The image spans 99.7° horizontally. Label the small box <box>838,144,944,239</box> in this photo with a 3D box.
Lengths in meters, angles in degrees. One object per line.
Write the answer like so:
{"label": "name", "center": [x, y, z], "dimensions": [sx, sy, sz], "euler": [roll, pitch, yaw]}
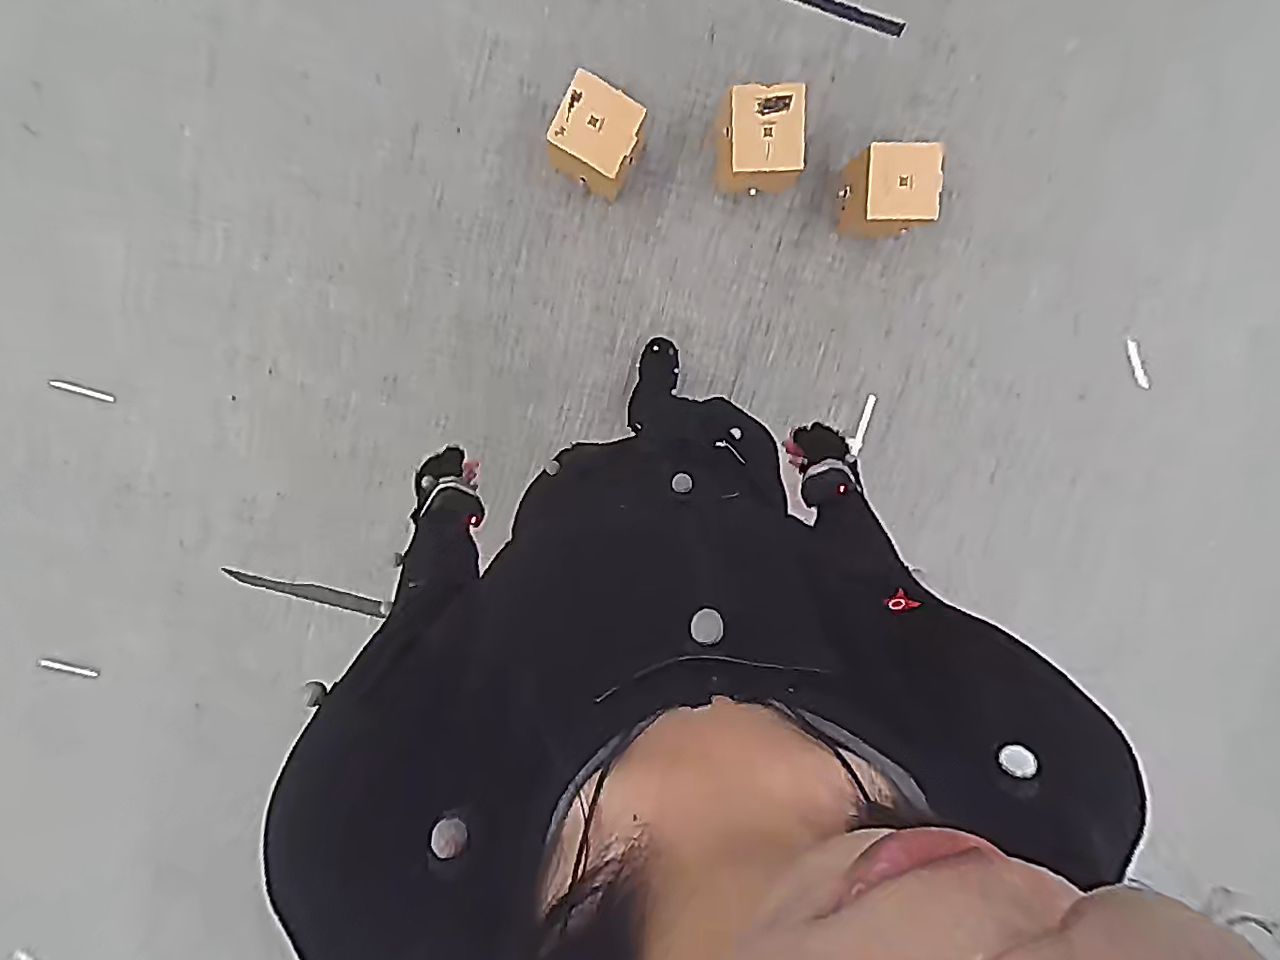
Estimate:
{"label": "small box", "center": [0.605, -0.697, 1.321], "dimensions": [0.179, 0.176, 0.168], "euler": [-2, 100, -1]}

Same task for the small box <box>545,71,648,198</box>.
{"label": "small box", "center": [-0.099, -0.794, 1.270], "dimensions": [0.179, 0.176, 0.168], "euler": [29, 98, -8]}

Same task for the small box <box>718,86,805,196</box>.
{"label": "small box", "center": [0.282, -0.796, 1.284], "dimensions": [0.168, 0.176, 0.179], "euler": [-3, 102, -2]}
